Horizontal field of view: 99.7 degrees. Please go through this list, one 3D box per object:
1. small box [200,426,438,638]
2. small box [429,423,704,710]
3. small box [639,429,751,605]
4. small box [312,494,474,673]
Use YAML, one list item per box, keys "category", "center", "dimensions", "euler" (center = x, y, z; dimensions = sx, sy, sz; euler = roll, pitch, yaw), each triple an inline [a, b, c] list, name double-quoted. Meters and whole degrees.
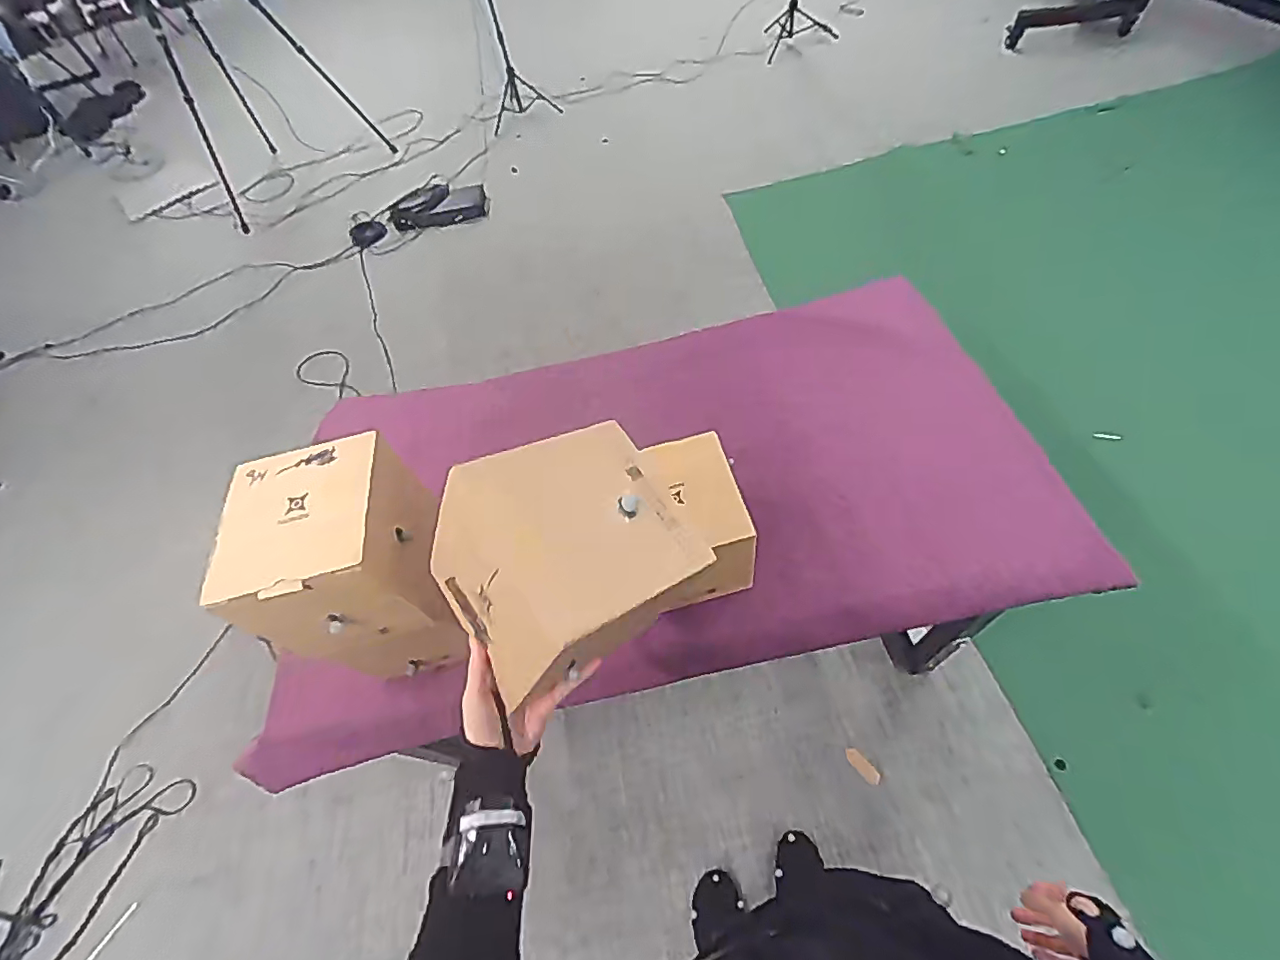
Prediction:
- category: "small box"
  center: [-0.345, 0.070, 0.625]
  dimensions: [0.168, 0.176, 0.179]
  euler: [-13, 56, 0]
- category: "small box"
  center: [-0.072, 0.074, 0.494]
  dimensions: [0.176, 0.179, 0.168]
  euler: [-22, 67, -37]
- category: "small box"
  center: [0.053, 0.062, 0.765]
  dimensions: [0.168, 0.176, 0.179]
  euler: [-15, 54, -1]
- category: "small box"
  center: [-0.326, 0.151, 0.766]
  dimensions: [0.168, 0.176, 0.179]
  euler: [-15, 56, 0]
